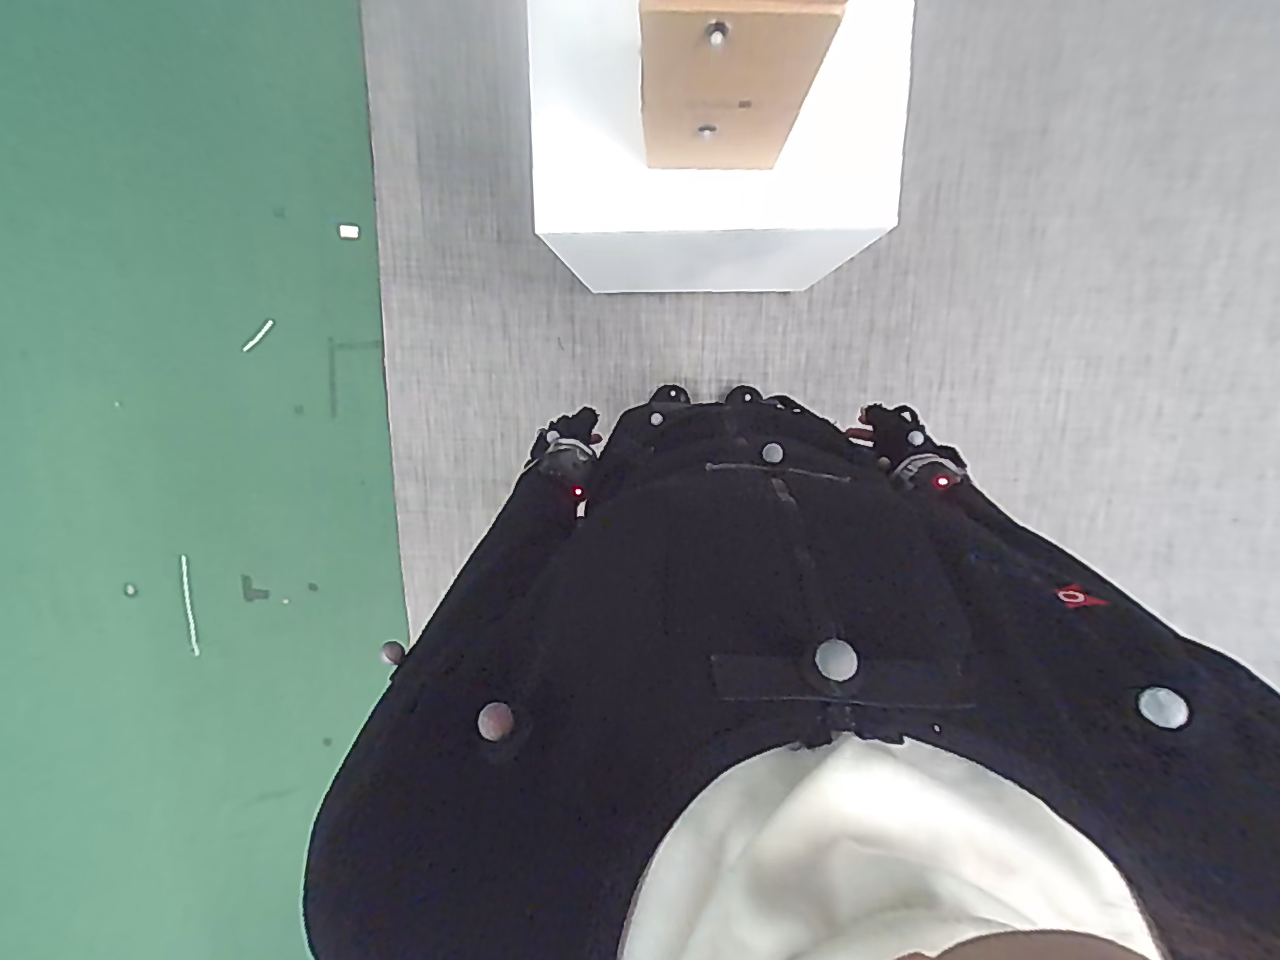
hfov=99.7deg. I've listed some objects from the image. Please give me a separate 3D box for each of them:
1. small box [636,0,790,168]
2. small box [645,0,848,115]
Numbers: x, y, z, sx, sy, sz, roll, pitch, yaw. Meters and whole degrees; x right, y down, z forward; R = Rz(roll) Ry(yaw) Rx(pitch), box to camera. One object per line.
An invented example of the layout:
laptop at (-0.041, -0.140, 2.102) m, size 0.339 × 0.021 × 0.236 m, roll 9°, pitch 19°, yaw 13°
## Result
small box at (0.091, -0.499, 0.658) m, size 0.179 × 0.176 × 0.168 m, roll 3°, pitch 100°, yaw 3°
small box at (0.089, -0.474, 0.499) m, size 0.168 × 0.176 × 0.179 m, roll 1°, pitch 101°, yaw 2°
